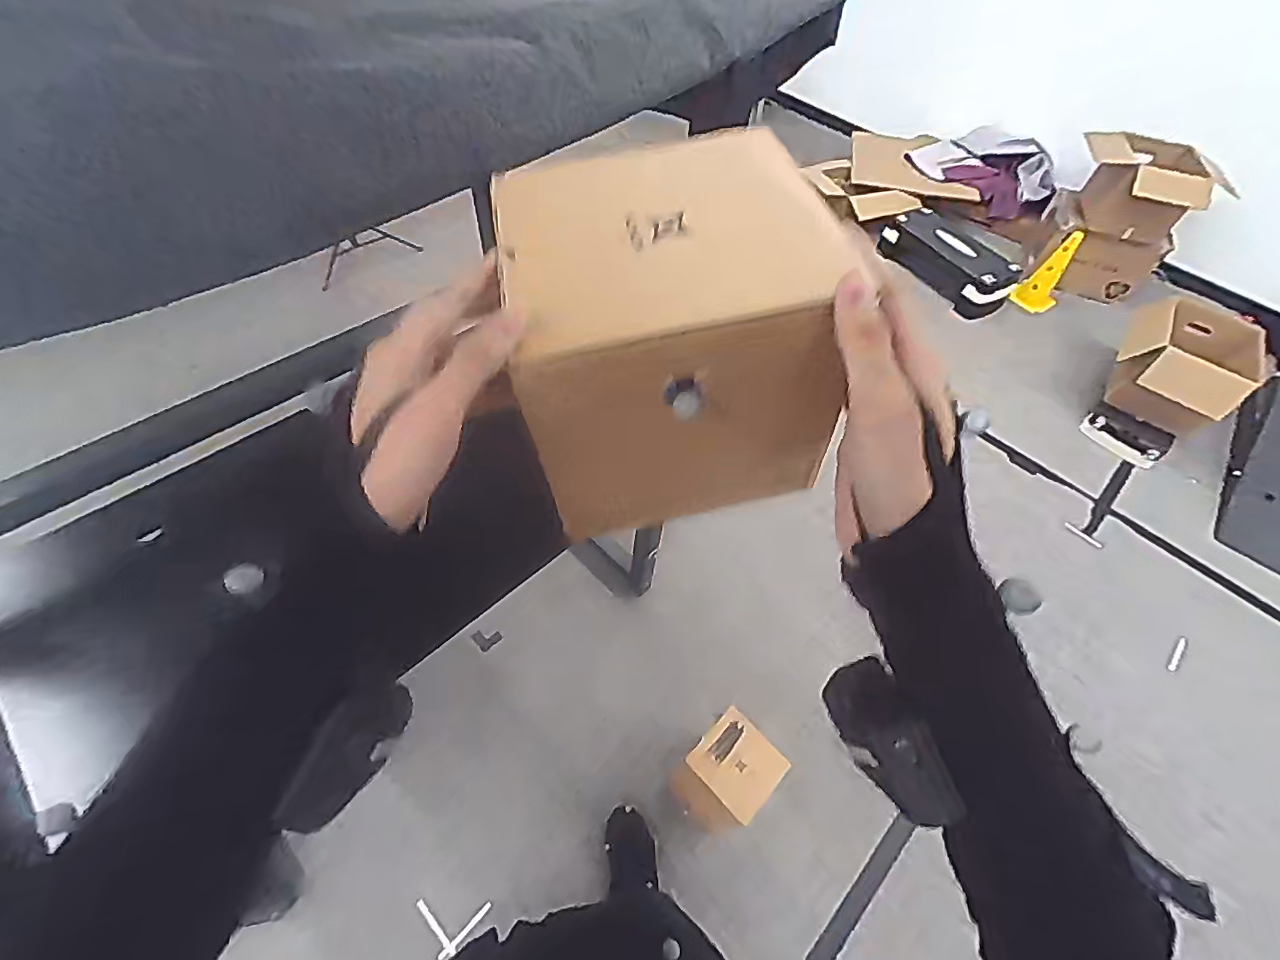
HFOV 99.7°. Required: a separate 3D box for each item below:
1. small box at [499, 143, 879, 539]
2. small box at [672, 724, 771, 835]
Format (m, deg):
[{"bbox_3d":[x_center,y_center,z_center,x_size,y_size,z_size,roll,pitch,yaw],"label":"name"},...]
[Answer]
[{"bbox_3d":[0.019,-0.082,0.356,0.179,0.176,0.168,-13,55,-2],"label":"small box"},{"bbox_3d":[0.195,0.752,1.354,0.168,0.176,0.179,39,62,21],"label":"small box"}]
